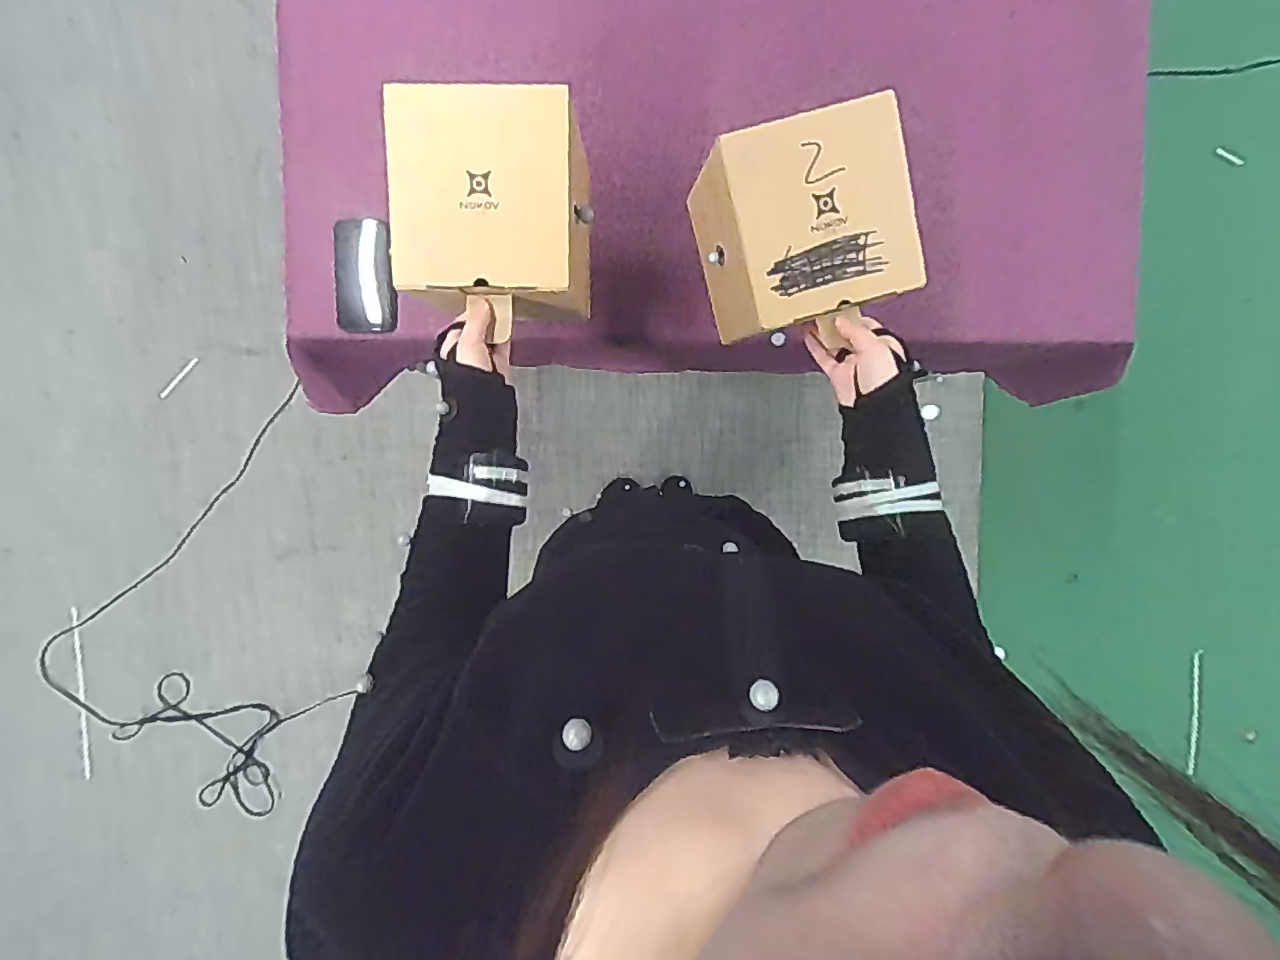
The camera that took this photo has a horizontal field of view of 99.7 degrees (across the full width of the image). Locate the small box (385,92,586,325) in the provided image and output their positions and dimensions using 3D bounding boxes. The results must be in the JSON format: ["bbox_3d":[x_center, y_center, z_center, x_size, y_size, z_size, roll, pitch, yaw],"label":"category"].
[{"bbox_3d":[-0.149,-0.269,0.572,0.168,0.176,0.179,1,99,0],"label":"small box"}]
